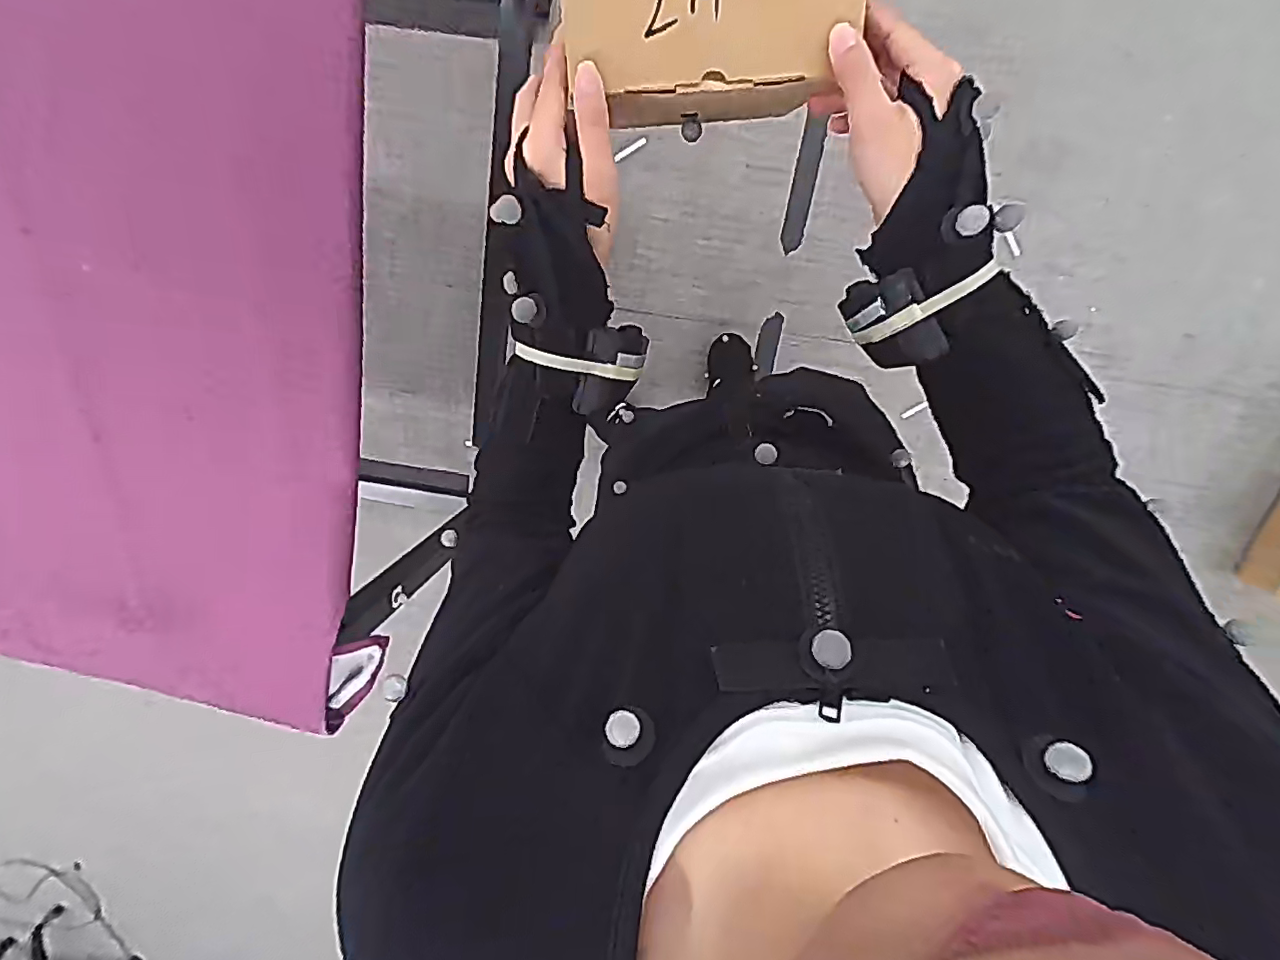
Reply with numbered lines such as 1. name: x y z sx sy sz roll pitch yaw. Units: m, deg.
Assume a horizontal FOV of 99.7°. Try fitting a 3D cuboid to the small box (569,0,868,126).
1. small box: 0.037 -0.342 0.340 0.168 0.176 0.179 -4 117 0
